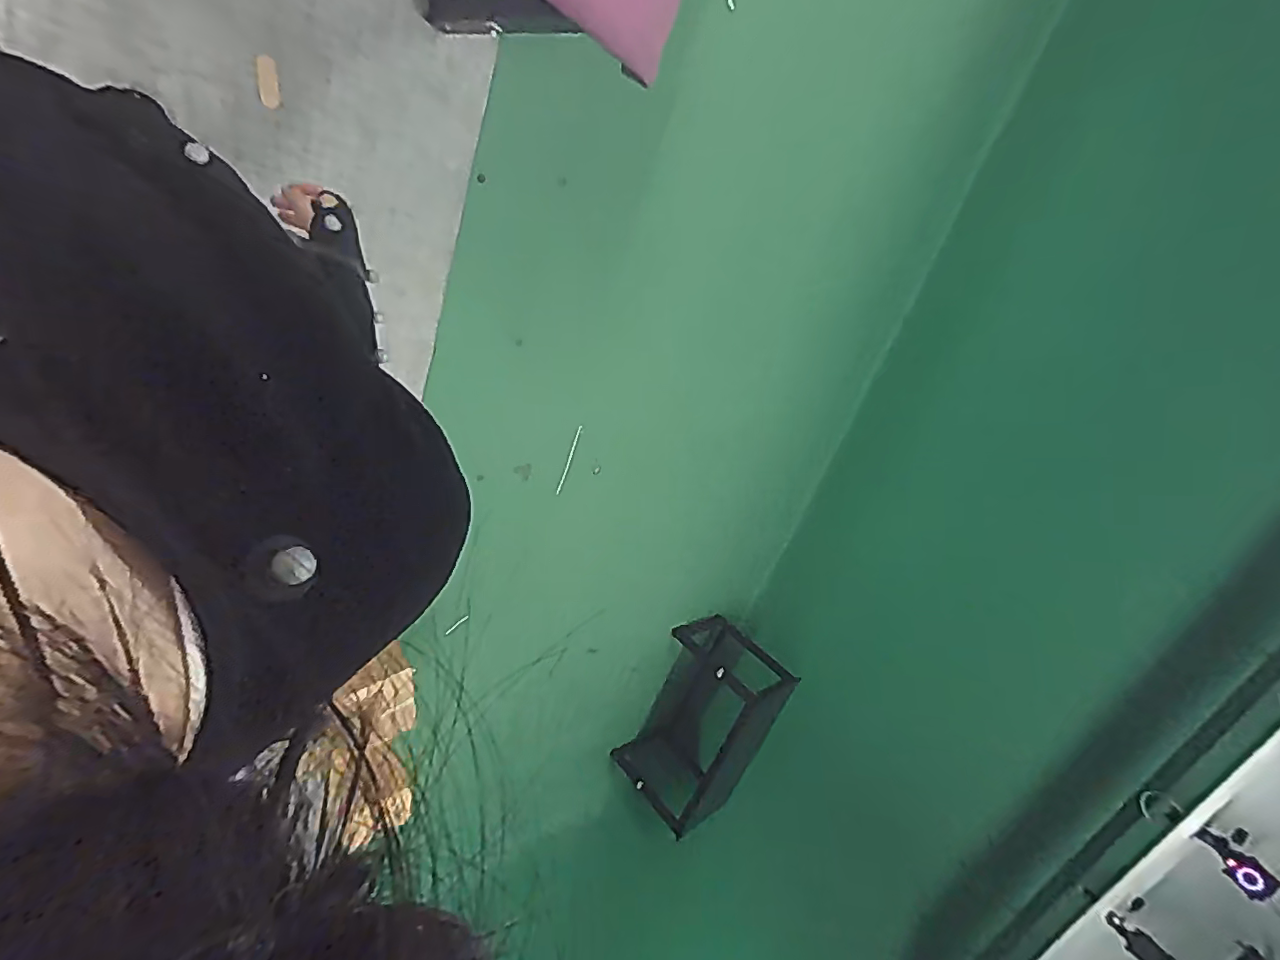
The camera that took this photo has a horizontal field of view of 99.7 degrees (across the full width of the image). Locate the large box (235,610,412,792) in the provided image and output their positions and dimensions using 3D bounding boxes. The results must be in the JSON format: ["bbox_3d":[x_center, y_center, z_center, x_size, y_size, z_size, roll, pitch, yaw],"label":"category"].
[{"bbox_3d":[-1.018,0.697,1.765,0.408,0.320,0.320,-20,133,-41],"label":"large box"}]

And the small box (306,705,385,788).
[{"bbox_3d":[-0.868,0.794,1.591,0.168,0.176,0.179,-12,127,-43],"label":"small box"}]

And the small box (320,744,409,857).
[{"bbox_3d":[-0.764,0.877,1.497,0.179,0.176,0.168,-11,126,-43],"label":"small box"}]
